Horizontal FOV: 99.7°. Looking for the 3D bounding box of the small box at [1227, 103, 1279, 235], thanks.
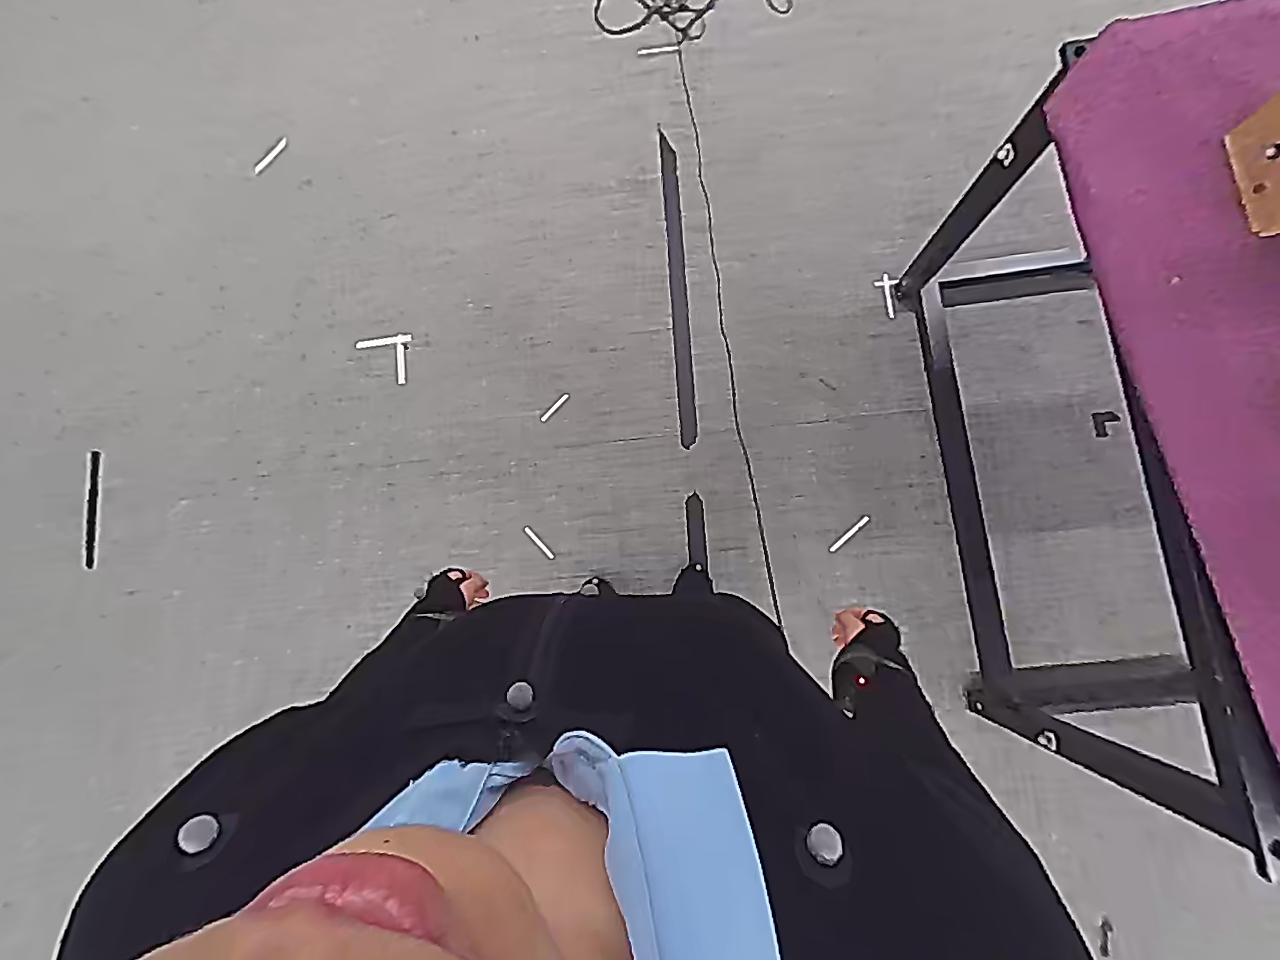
[{"bbox_3d":[0.960,-0.452,0.711,0.179,0.176,0.168,-8,82,4],"label":"small box"}]
